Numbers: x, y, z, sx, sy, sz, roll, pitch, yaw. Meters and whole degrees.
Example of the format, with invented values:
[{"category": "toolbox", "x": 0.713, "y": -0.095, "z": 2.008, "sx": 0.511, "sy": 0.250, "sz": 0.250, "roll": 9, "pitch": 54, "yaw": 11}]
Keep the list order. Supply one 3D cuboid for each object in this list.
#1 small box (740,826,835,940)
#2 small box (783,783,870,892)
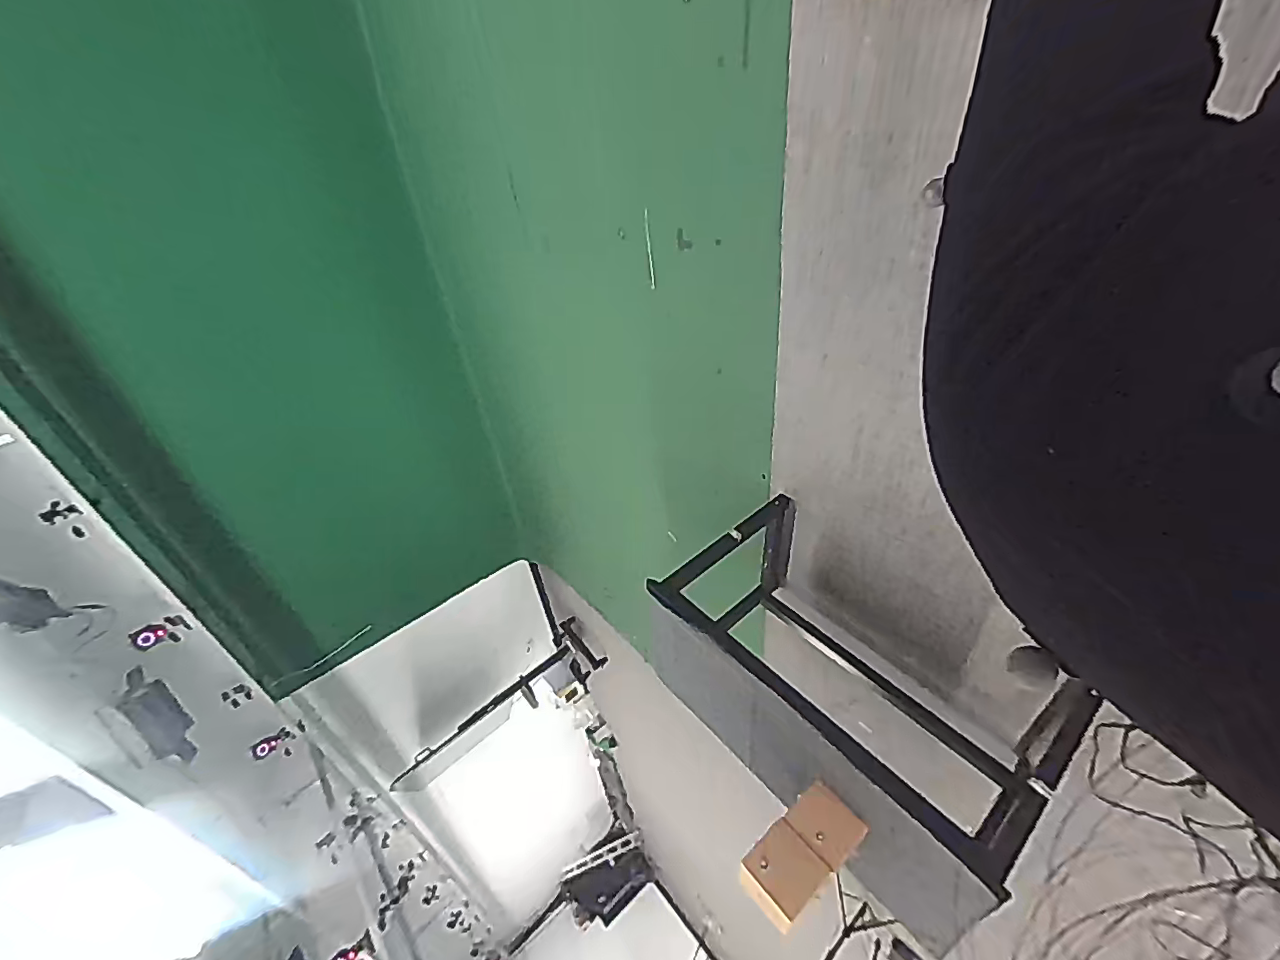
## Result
[{"category": "small box", "x": 0.398, "y": 1.086, "z": 1.473, "sx": 0.179, "sy": 0.176, "sz": 0.168, "roll": 35, "pitch": 144, "yaw": 38}, {"category": "small box", "x": 0.527, "y": 1.019, "z": 1.551, "sx": 0.179, "sy": 0.176, "sz": 0.168, "roll": 37, "pitch": 144, "yaw": 37}]
